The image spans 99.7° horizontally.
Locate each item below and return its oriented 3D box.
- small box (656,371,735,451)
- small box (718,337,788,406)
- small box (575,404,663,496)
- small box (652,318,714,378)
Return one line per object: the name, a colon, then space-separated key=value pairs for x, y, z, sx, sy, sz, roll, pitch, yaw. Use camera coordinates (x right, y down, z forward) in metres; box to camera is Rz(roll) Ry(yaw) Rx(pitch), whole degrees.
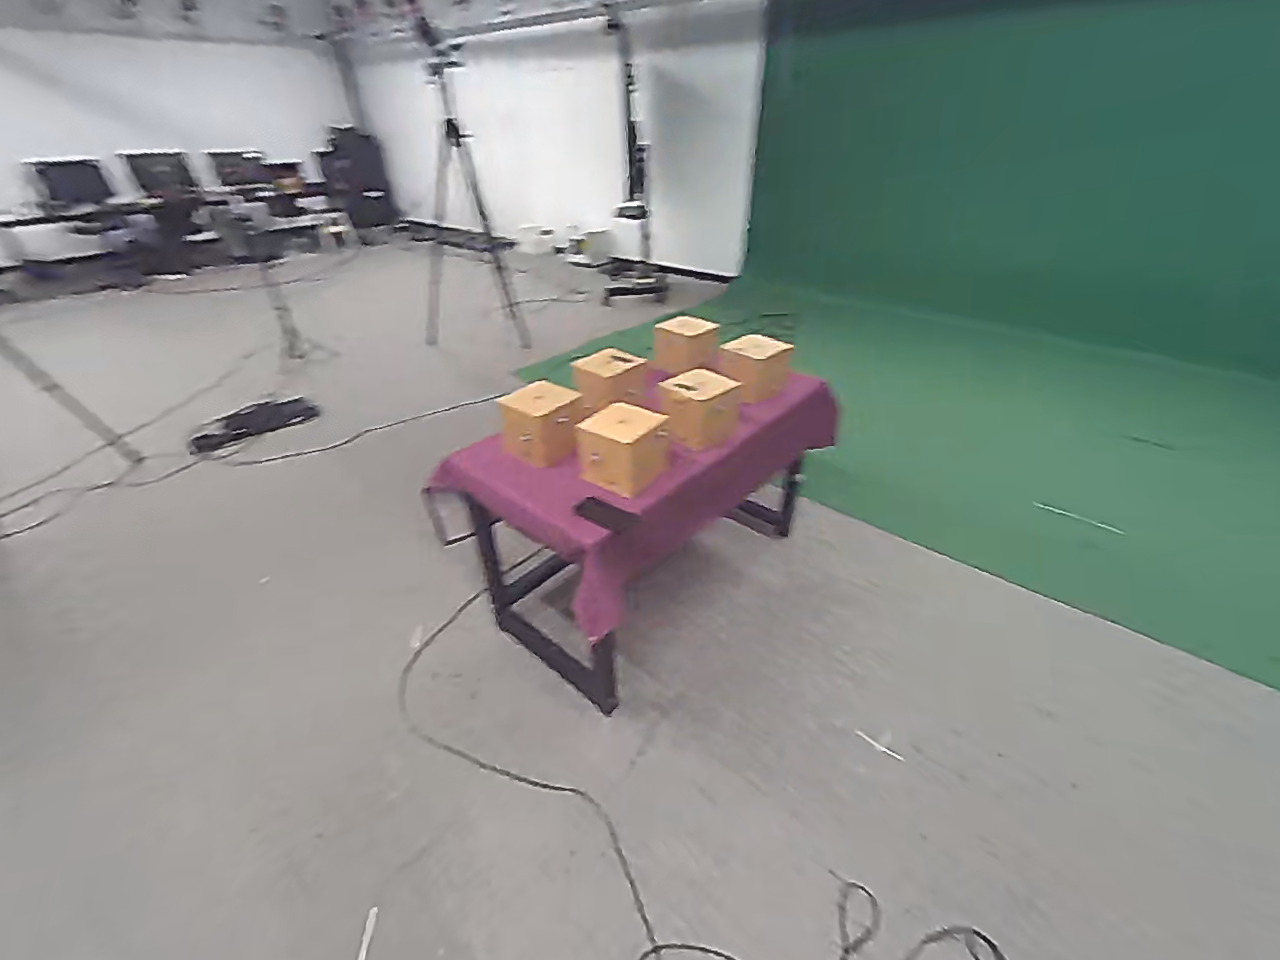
small box: x=0.167 y=-0.209 z=1.631 sx=0.179 sy=0.176 sz=0.168 roll=-27 pitch=42 yaw=-35
small box: x=0.384 y=-0.379 z=1.878 sx=0.179 sy=0.176 sz=0.168 roll=-27 pitch=42 yaw=-34
small box: x=-0.050 y=-0.079 z=1.444 sx=0.168 sy=0.176 sz=0.179 roll=21 pitch=38 yaw=29
small box: x=0.159 y=-0.500 z=2.060 sx=0.179 sy=0.176 sz=0.168 roll=29 pitch=45 yaw=35
